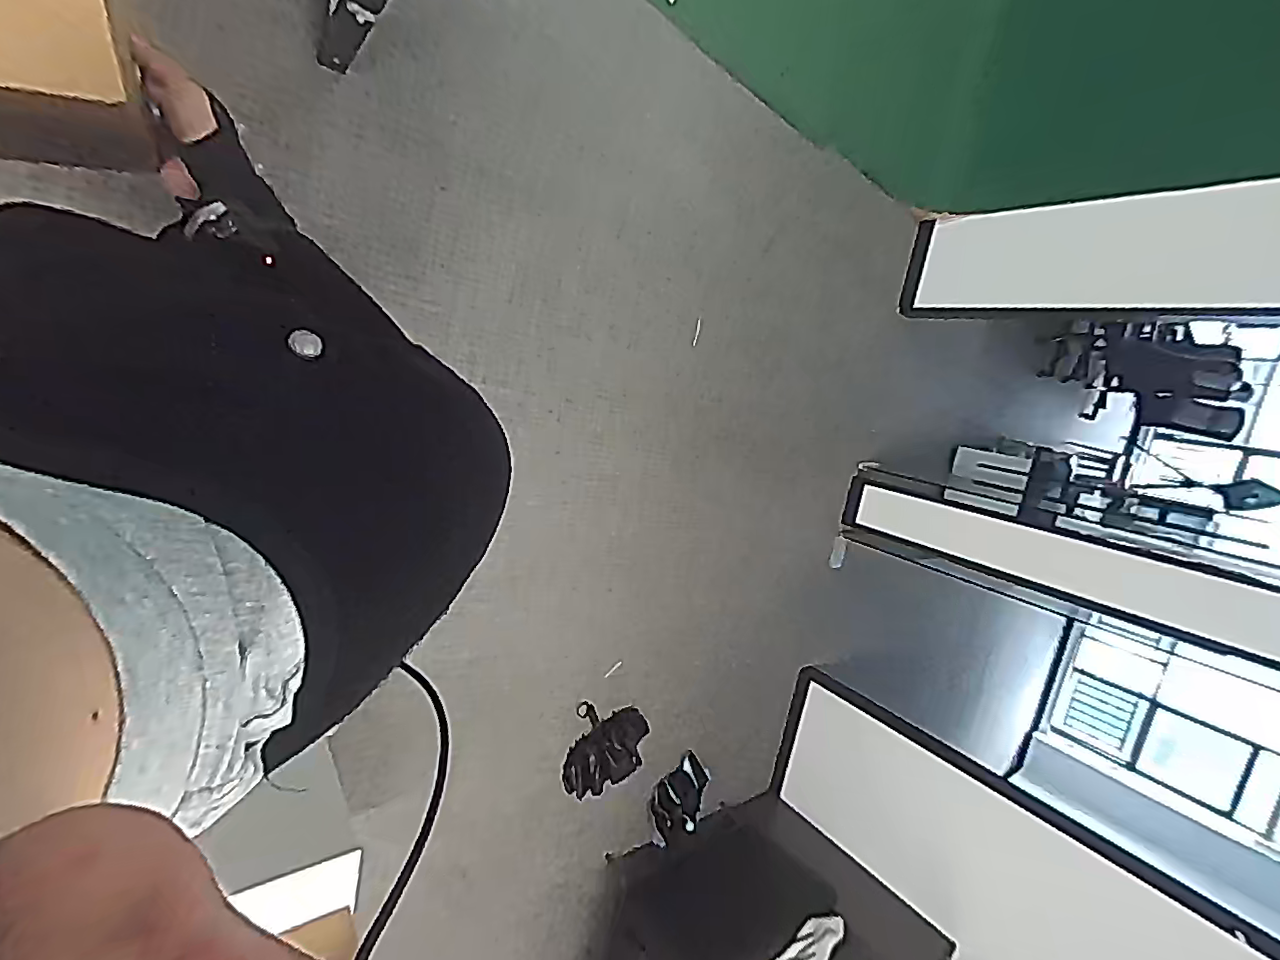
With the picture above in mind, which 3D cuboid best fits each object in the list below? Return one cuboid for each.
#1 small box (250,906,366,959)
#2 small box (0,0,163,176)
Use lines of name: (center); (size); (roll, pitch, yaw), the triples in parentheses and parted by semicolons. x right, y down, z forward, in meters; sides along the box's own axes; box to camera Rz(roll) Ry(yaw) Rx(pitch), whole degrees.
small box: (-0.616, 0.950, 0.992); (0.179, 0.176, 0.168); (2, 103, -40)
small box: (-0.461, -0.323, 0.363); (0.179, 0.176, 0.168); (-12, 107, -34)
